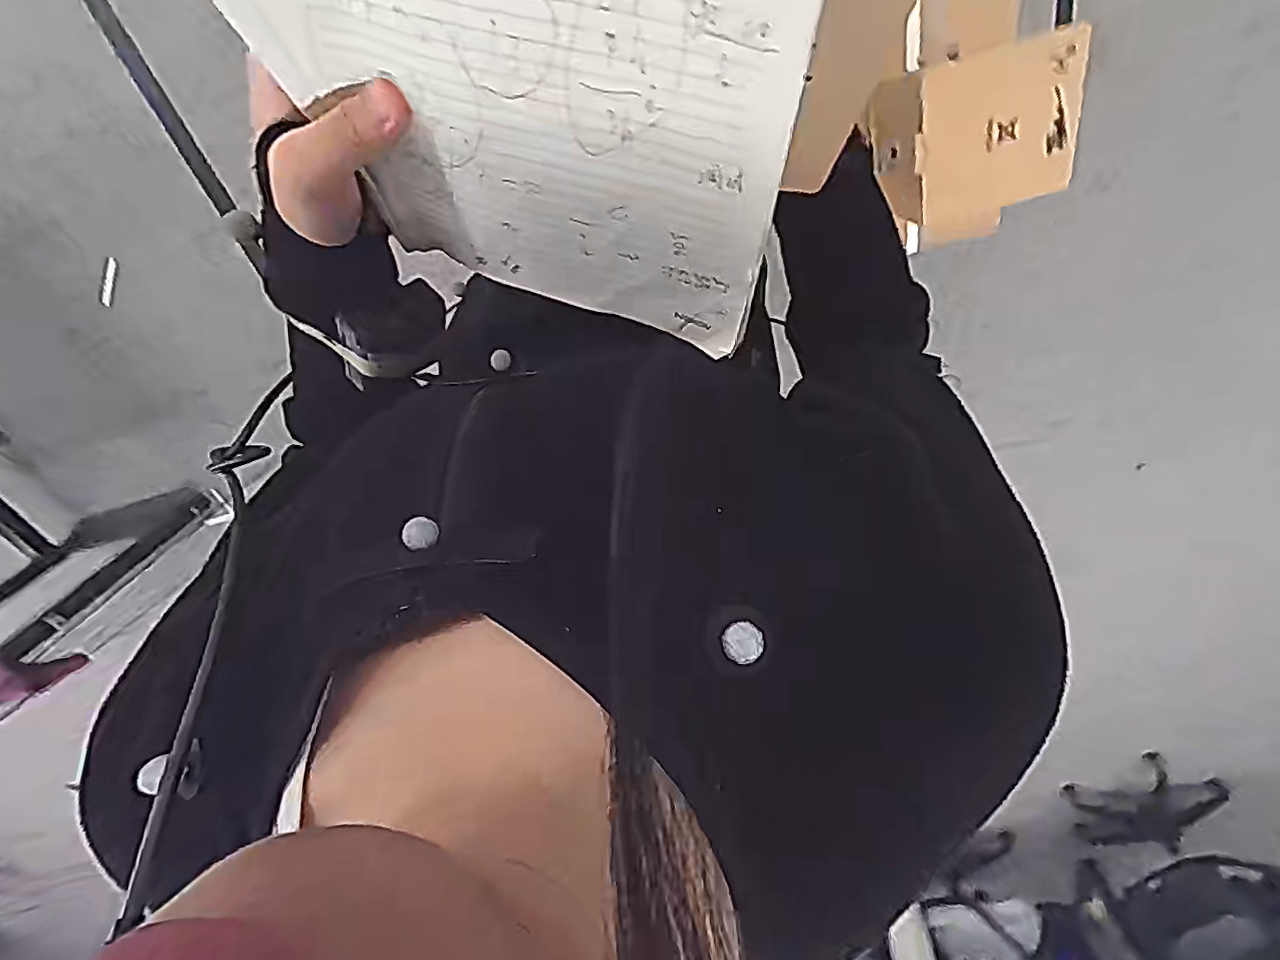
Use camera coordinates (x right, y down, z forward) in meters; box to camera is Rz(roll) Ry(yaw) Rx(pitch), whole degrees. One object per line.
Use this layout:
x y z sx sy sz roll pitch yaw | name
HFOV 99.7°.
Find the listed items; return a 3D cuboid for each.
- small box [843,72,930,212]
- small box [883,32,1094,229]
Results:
0.424 -0.528 0.840 0.179 0.176 0.168 -8 122 8 | small box
0.426 -0.441 0.700 0.179 0.176 0.168 -10 122 10 | small box
